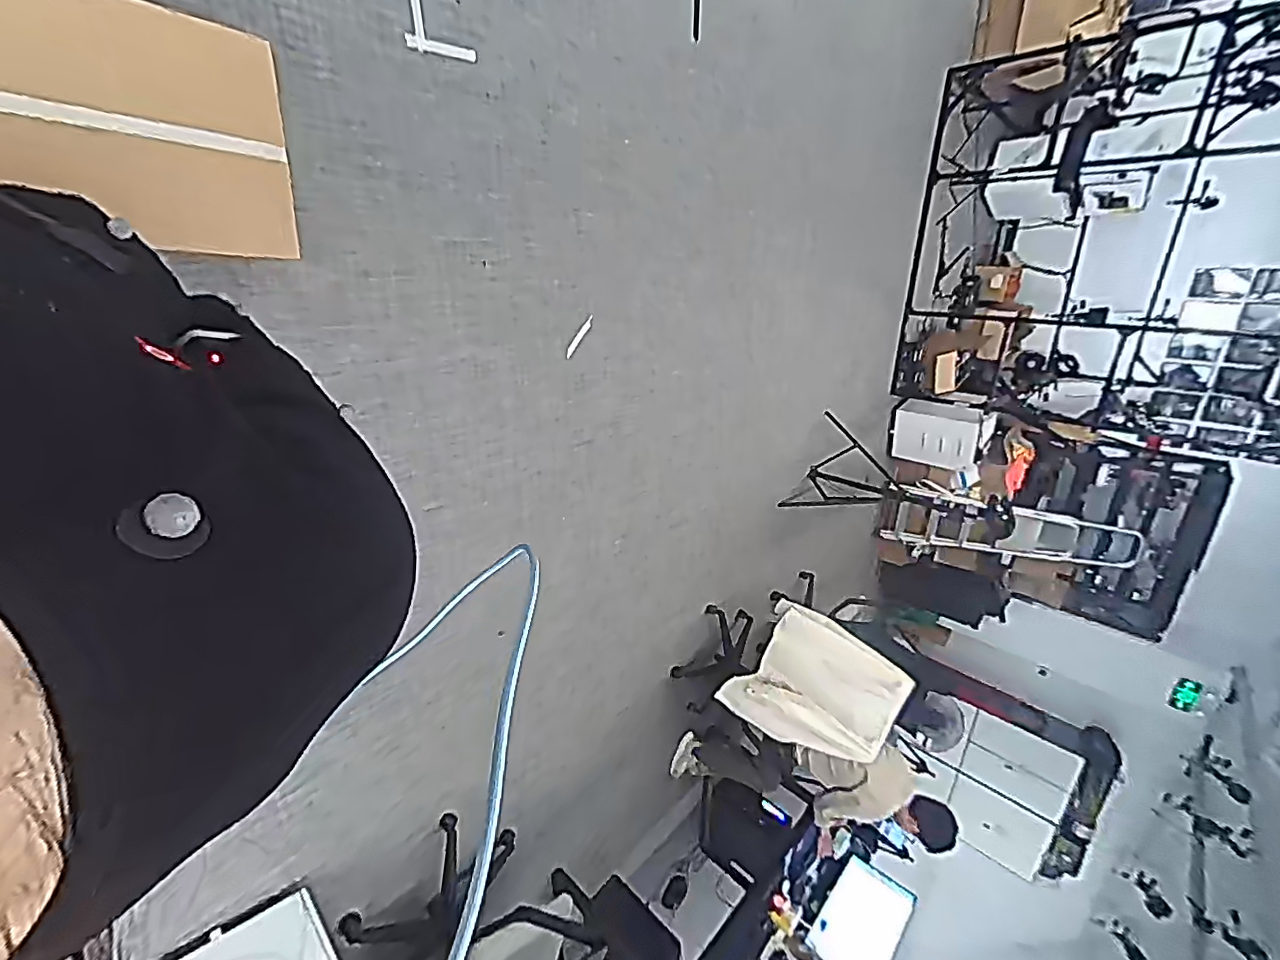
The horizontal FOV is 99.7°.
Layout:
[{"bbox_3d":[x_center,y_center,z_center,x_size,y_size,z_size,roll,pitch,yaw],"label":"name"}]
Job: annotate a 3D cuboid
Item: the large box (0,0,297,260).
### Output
[{"bbox_3d":[-0.821,-0.516,0.826,0.408,0.320,0.320,-17,118,-44],"label":"large box"}]
